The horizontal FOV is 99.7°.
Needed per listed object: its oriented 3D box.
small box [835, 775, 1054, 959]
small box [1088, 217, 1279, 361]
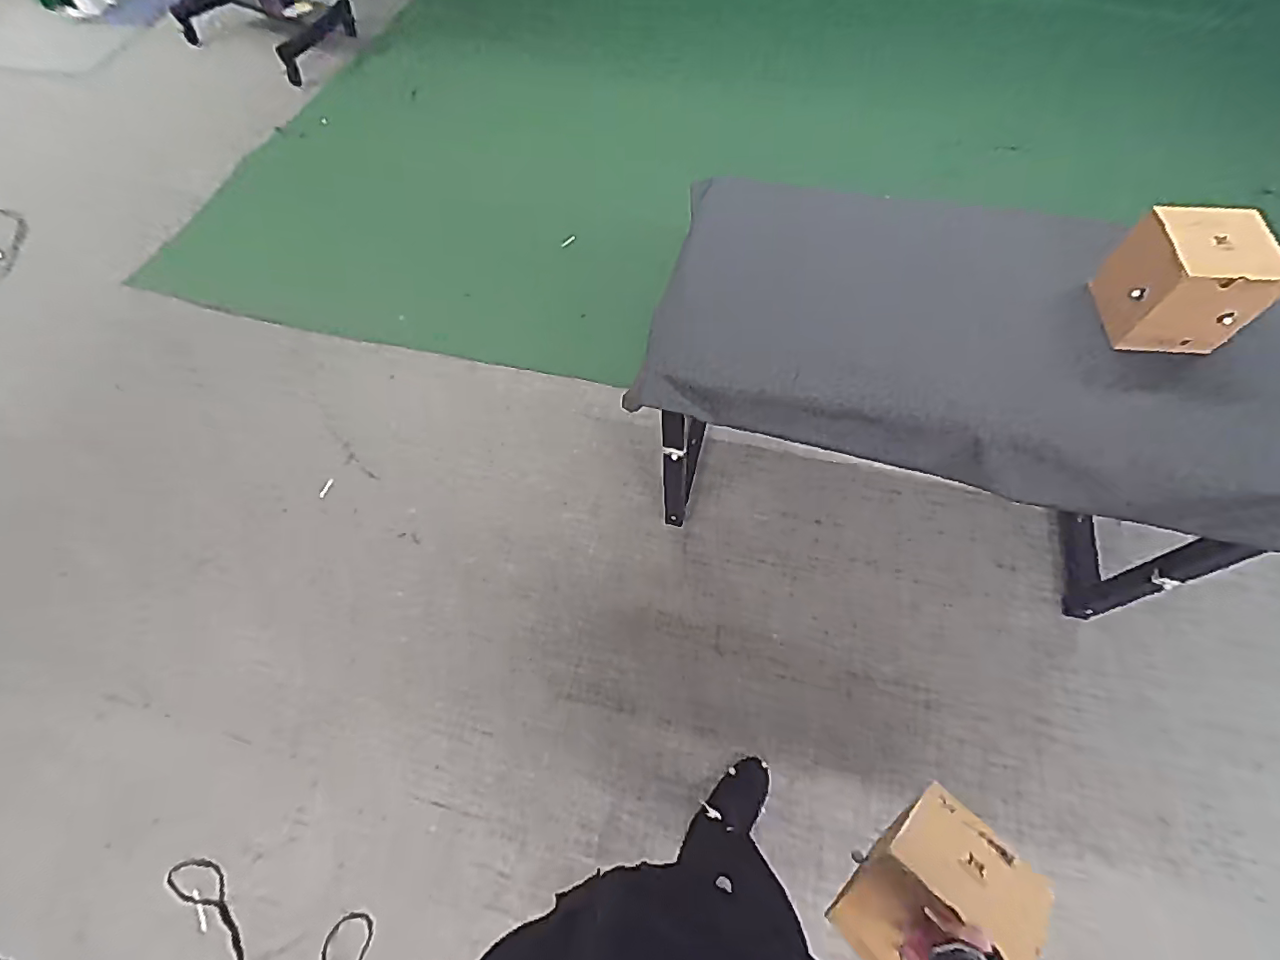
[{"bbox_3d":[0.378,0.534,0.692,0.179,0.176,0.168,-9,38,-45],"label":"small box"},{"bbox_3d":[0.950,-0.331,0.953,0.168,0.176,0.179,5,60,4],"label":"small box"}]
